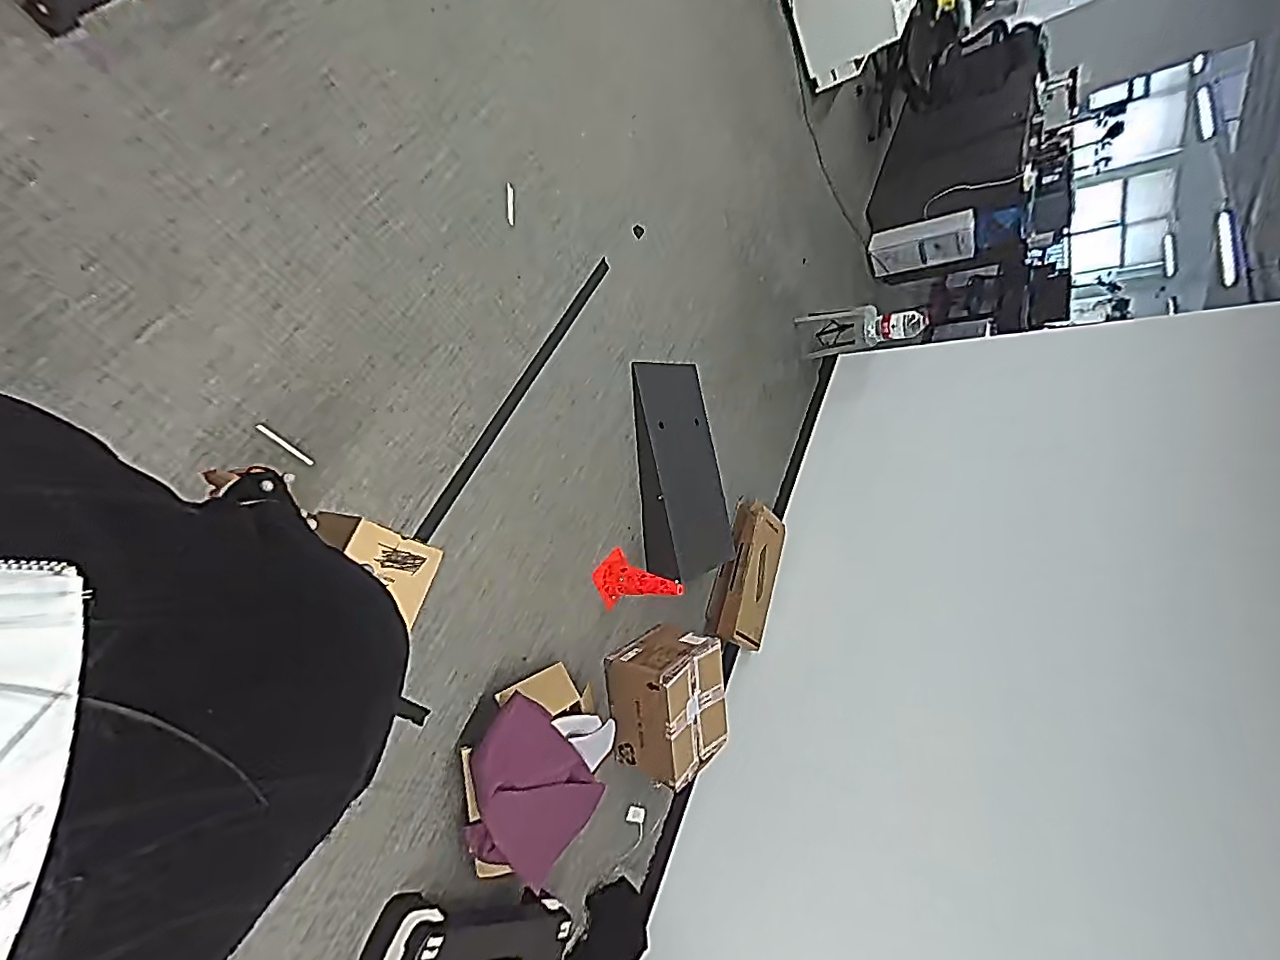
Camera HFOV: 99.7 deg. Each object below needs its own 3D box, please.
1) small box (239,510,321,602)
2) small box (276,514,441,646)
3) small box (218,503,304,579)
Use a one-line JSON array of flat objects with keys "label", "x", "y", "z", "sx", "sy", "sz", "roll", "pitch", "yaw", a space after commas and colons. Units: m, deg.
[{"label": "small box", "x": -0.621, "y": 0.166, "z": 1.040, "sx": 0.179, "sy": 0.176, "sz": 0.168, "roll": 39, "pitch": 62, "yaw": -44}, {"label": "small box", "x": -0.490, "y": 0.168, "z": 0.939, "sx": 0.168, "sy": 0.176, "sz": 0.179, "roll": 39, "pitch": 62, "yaw": -45}, {"label": "small box", "x": -0.742, "y": 0.154, "z": 1.151, "sx": 0.179, "sy": 0.176, "sz": 0.168, "roll": 41, "pitch": 59, "yaw": -43}]
